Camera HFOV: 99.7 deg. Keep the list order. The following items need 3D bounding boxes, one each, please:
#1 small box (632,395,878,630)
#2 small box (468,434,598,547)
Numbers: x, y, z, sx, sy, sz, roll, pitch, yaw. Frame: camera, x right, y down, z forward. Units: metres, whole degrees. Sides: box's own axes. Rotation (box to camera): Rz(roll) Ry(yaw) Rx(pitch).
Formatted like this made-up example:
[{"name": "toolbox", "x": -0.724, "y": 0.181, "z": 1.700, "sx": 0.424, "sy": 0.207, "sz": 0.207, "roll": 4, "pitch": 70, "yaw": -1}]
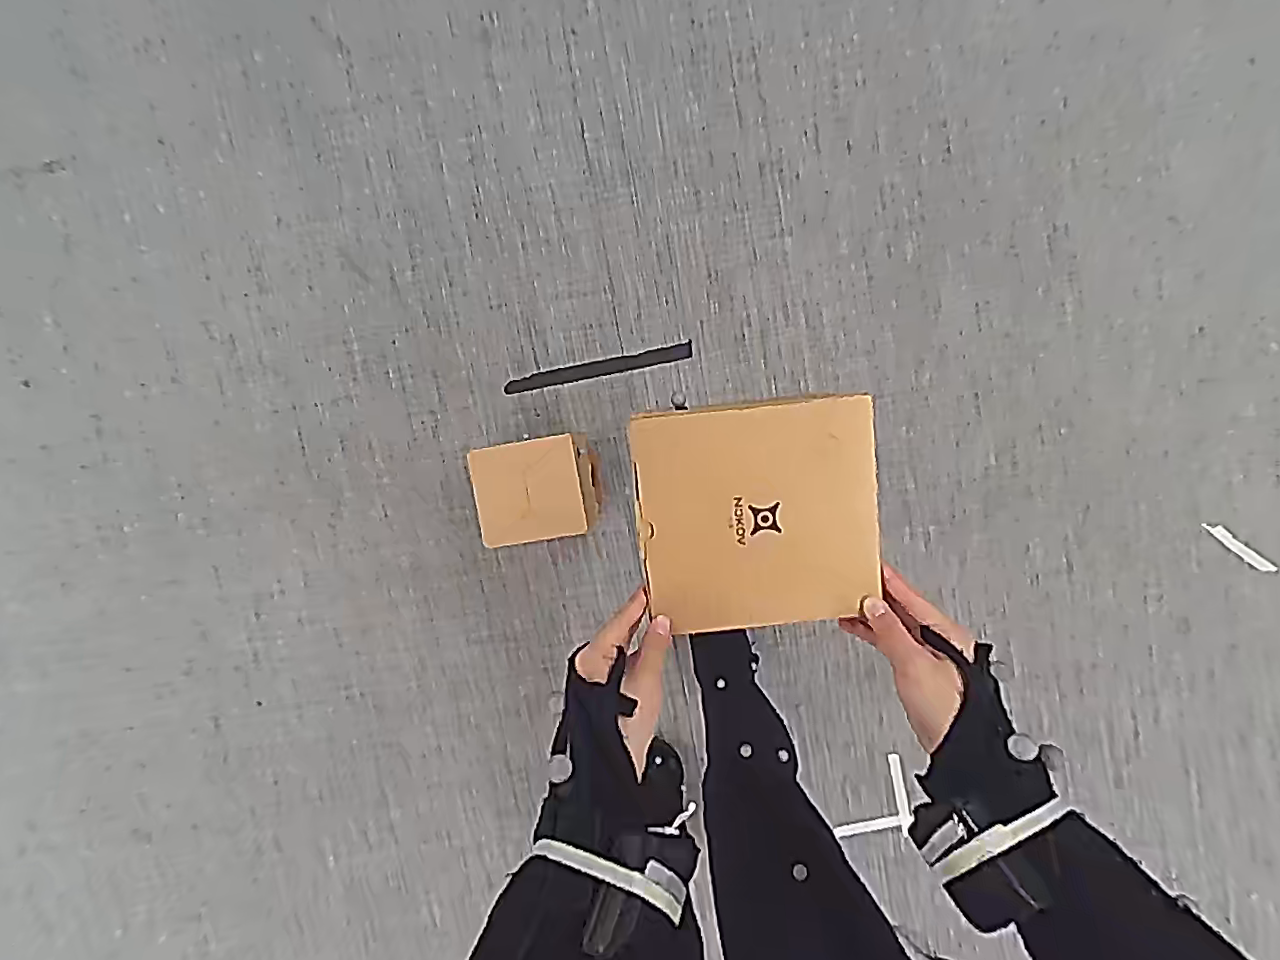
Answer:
[{"name": "small box", "x": 0.086, "y": 0.014, "z": 0.477, "sx": 0.179, "sy": 0.176, "sz": 0.168, "roll": -6, "pitch": 98, "yaw": 1}, {"name": "small box", "x": -0.181, "y": 0.014, "z": 0.957, "sx": 0.179, "sy": 0.176, "sz": 0.168, "roll": -9, "pitch": 94, "yaw": 2}]
